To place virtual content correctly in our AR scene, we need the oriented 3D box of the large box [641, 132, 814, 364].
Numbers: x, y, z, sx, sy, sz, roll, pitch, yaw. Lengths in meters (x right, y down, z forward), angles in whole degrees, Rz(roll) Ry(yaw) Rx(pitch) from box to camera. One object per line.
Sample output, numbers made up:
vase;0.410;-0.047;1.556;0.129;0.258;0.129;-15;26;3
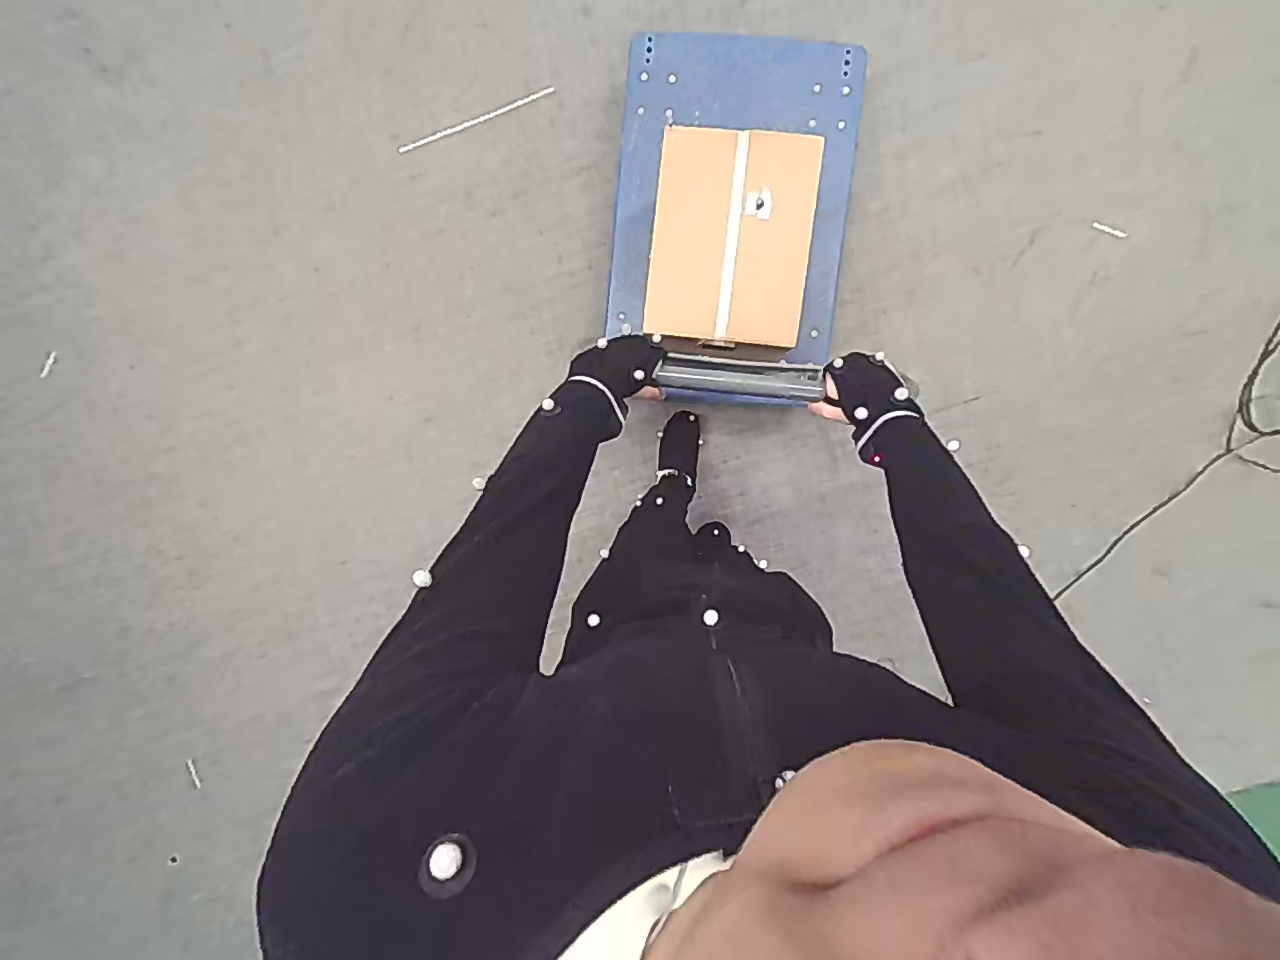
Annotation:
large box;0.184;-0.497;1.237;0.320;0.320;0.408;7;95;3
